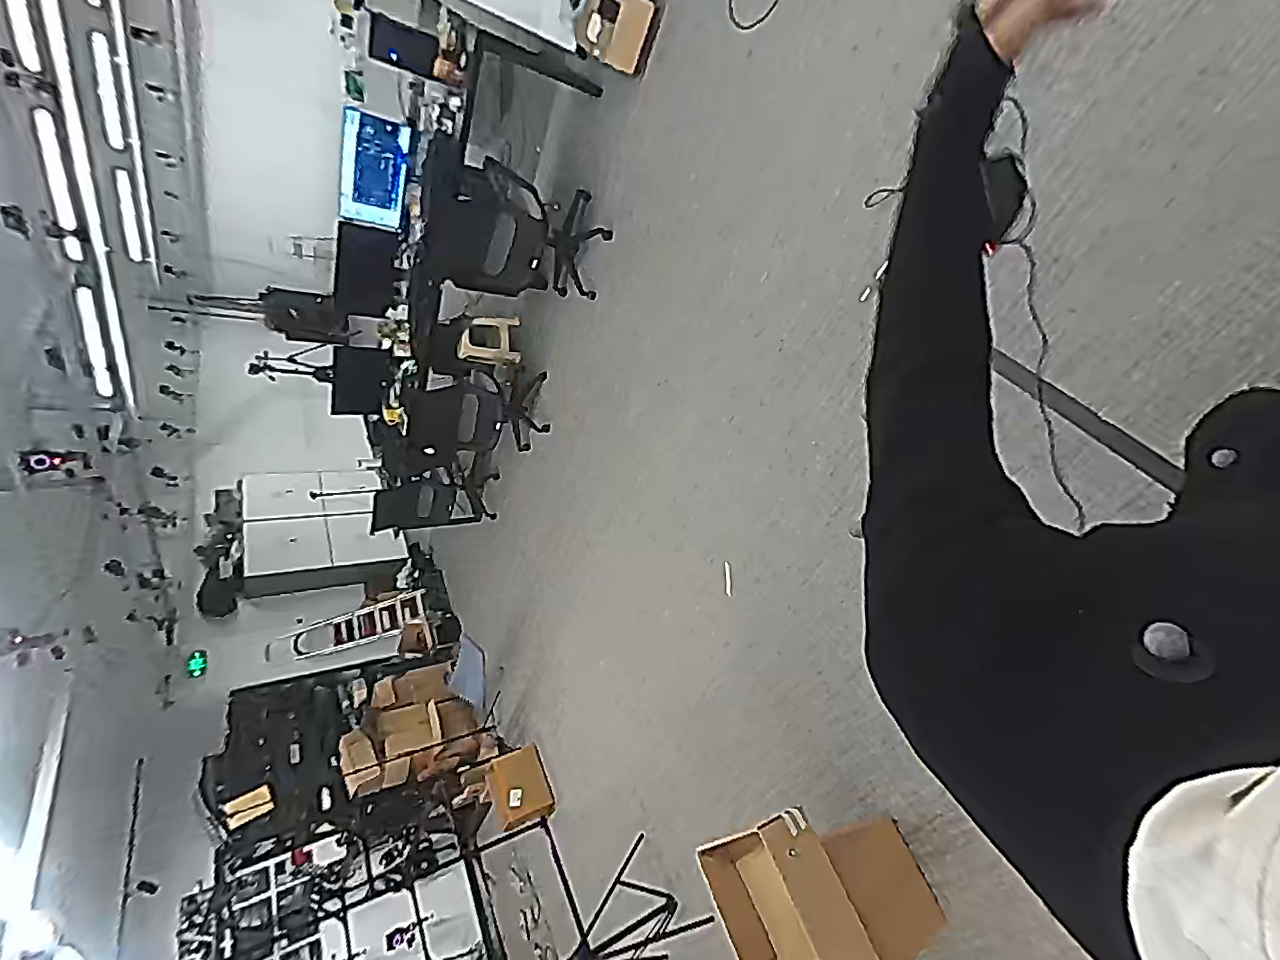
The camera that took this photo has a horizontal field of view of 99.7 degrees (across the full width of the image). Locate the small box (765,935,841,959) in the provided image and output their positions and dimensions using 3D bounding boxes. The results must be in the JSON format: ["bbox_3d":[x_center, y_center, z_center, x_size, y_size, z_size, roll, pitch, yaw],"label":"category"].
[{"bbox_3d":[0.474,1.419,1.520,0.179,0.176,0.168,-54,49,44],"label":"small box"}]
